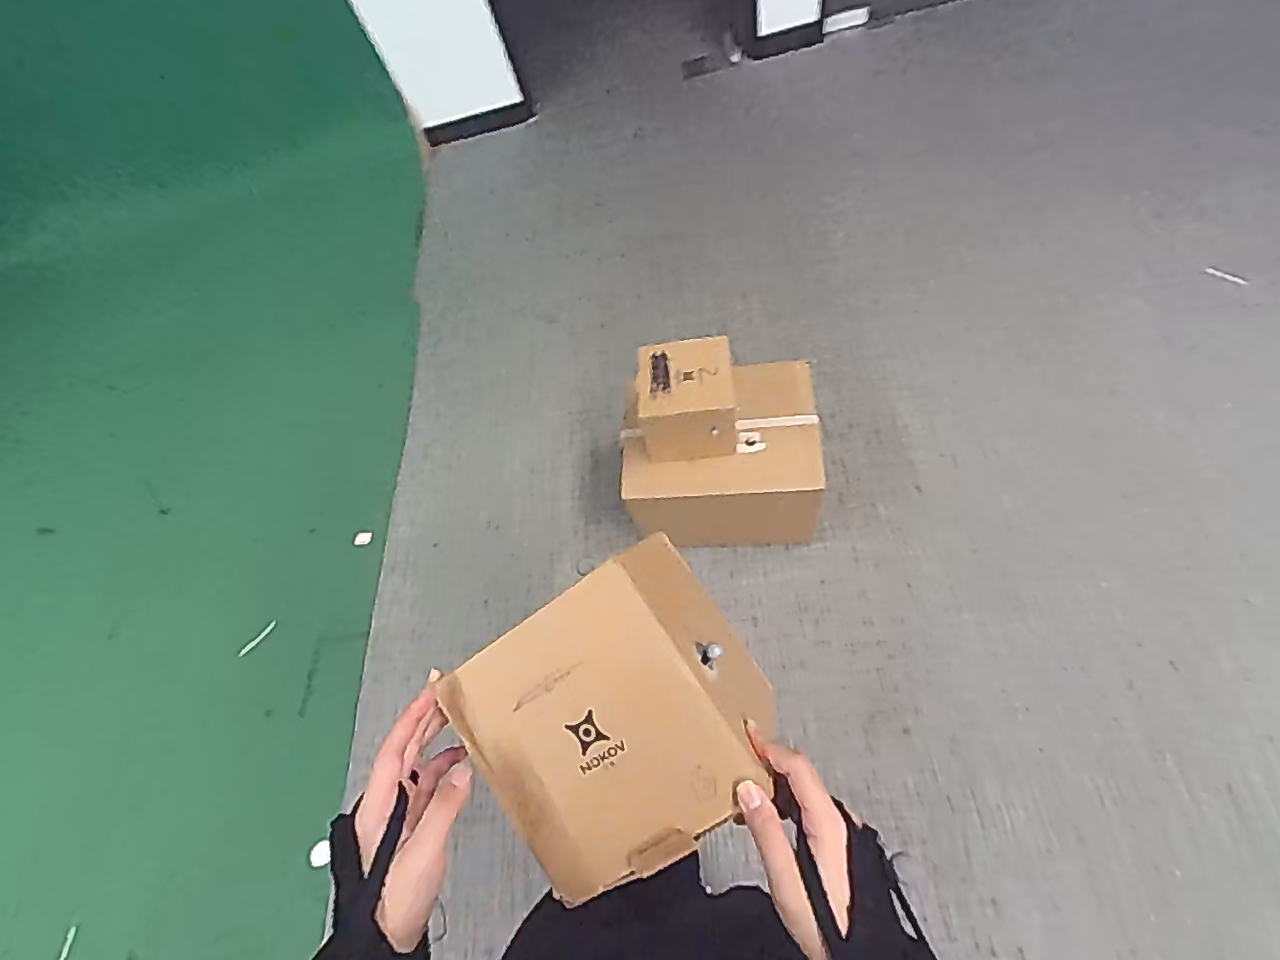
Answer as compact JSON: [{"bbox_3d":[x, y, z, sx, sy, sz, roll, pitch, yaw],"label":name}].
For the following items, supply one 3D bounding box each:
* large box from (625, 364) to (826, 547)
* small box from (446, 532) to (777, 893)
[{"bbox_3d":[0.190,-0.038,1.265,0.408,0.320,0.320,-3,64,9],"label":"large box"},{"bbox_3d":[-0.007,0.159,0.431,0.168,0.176,0.179,-36,82,11],"label":"small box"}]
